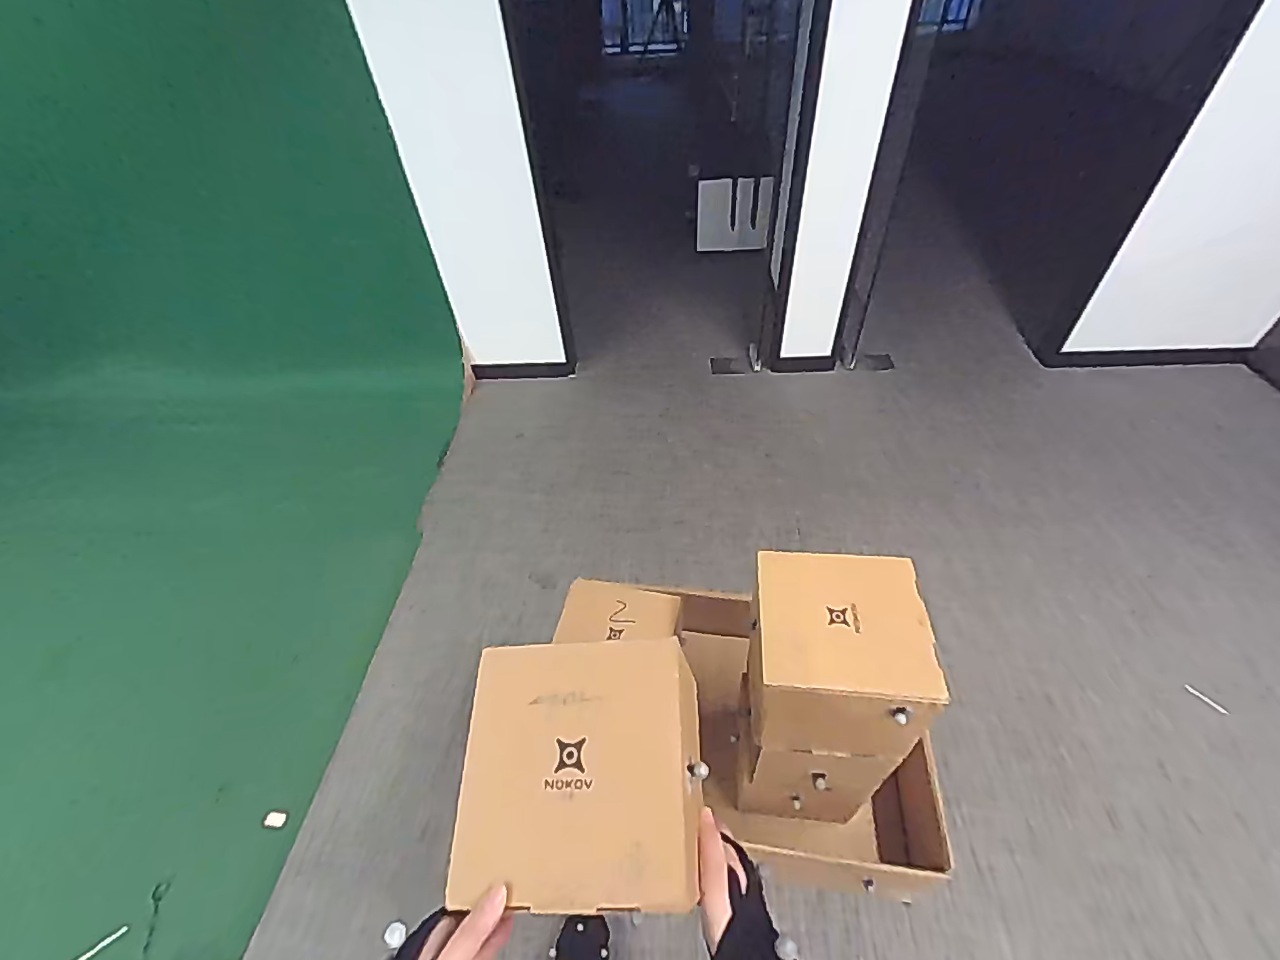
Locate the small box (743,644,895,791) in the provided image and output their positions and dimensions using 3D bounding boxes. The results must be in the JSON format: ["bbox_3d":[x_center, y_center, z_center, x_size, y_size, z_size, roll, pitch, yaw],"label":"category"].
[{"bbox_3d":[0.234,0.316,0.754,0.168,0.176,0.179,2,48,7],"label":"small box"}]

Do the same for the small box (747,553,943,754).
[{"bbox_3d":[0.219,0.205,0.635,0.179,0.176,0.168,2,46,7],"label":"small box"}]

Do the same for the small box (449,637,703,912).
[{"bbox_3d":[-0.036,0.247,0.465,0.168,0.176,0.179,-4,57,8],"label":"small box"}]
